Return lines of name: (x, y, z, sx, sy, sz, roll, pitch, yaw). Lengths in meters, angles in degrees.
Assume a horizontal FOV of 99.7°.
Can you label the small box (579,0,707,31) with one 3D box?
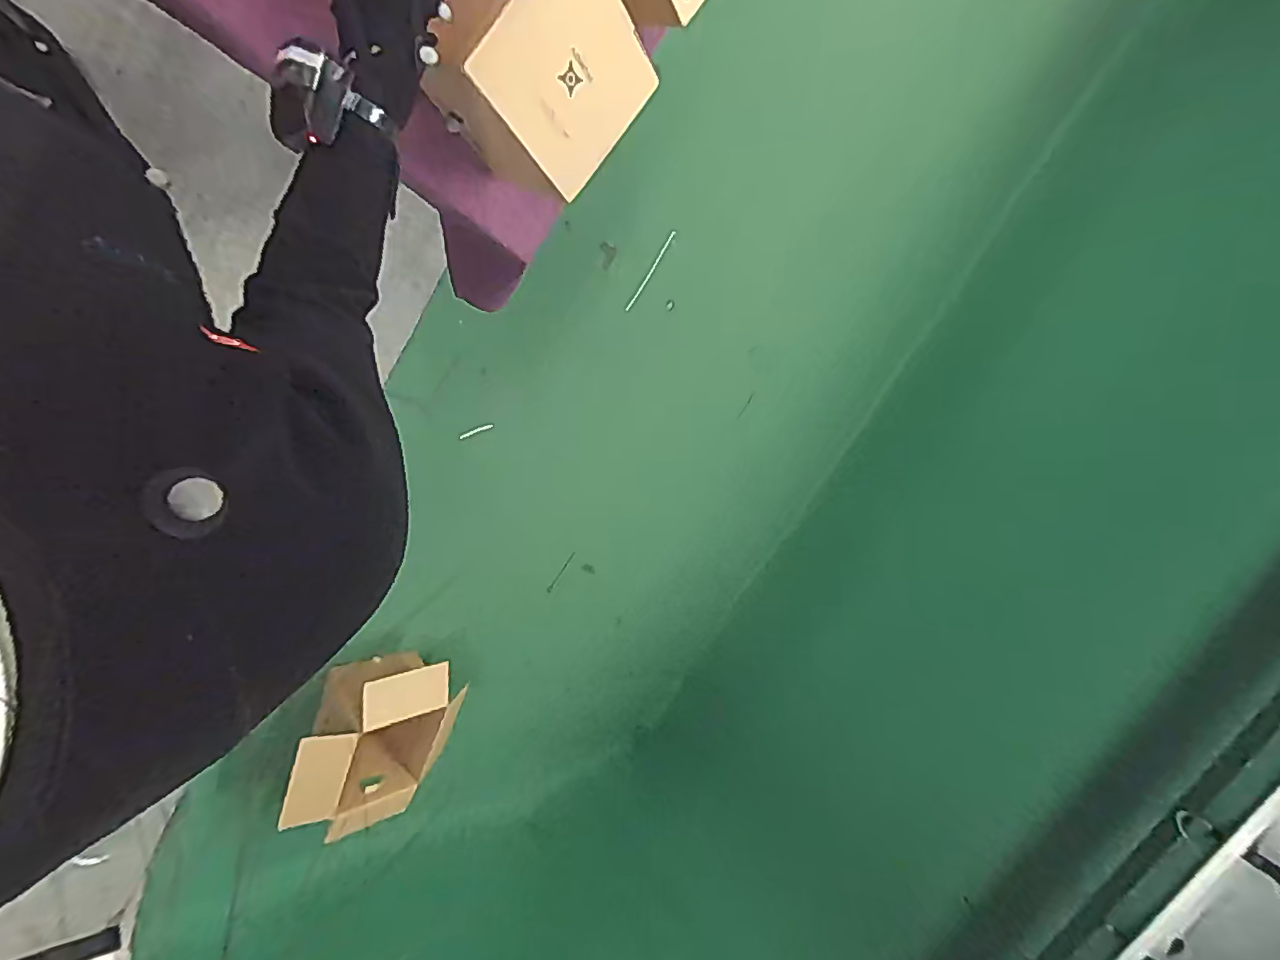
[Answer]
small box: (0.008, -0.633, 0.577, 0.179, 0.176, 0.168, -54, 144, 3)
